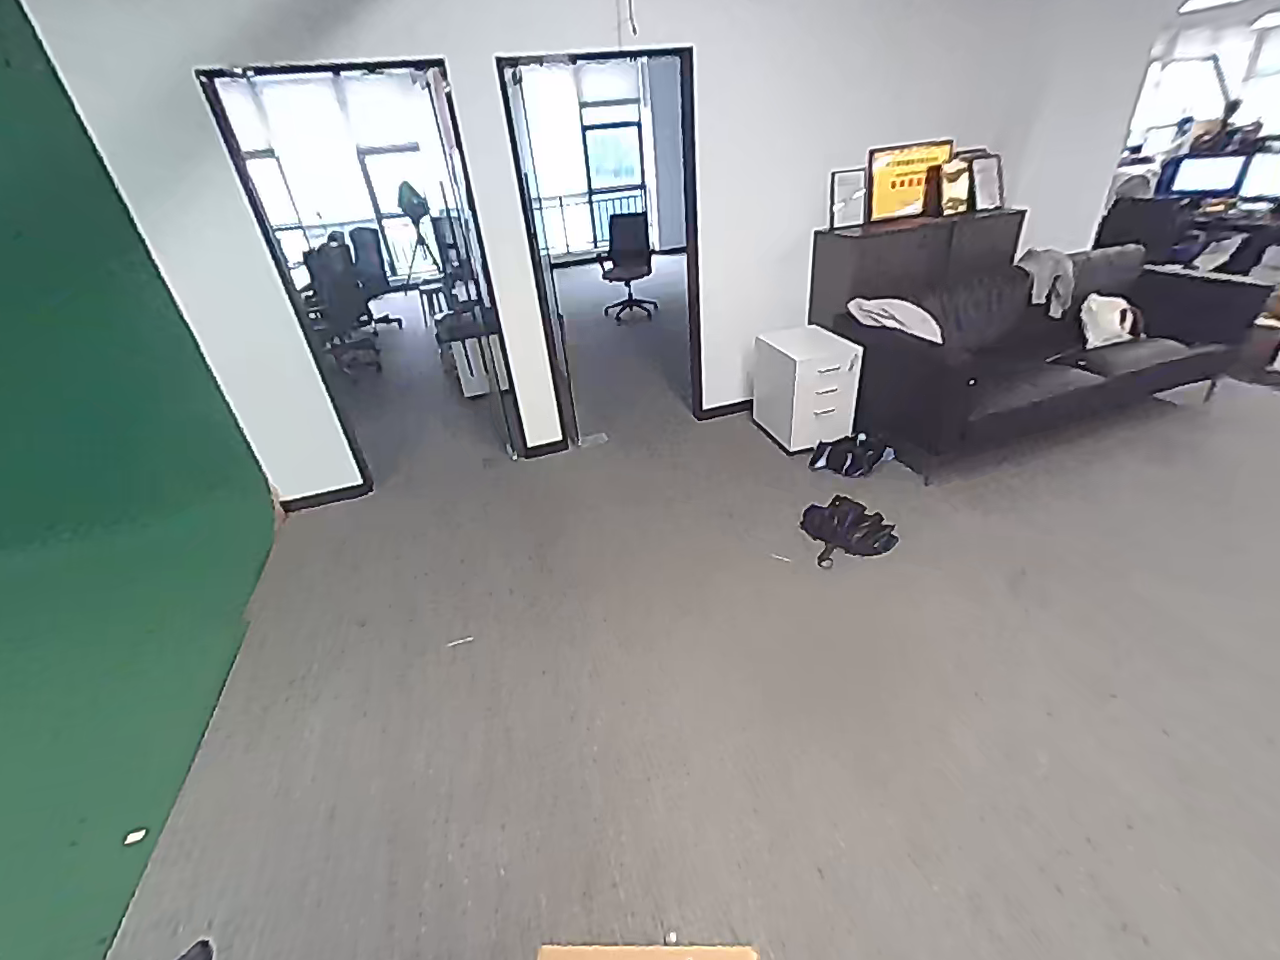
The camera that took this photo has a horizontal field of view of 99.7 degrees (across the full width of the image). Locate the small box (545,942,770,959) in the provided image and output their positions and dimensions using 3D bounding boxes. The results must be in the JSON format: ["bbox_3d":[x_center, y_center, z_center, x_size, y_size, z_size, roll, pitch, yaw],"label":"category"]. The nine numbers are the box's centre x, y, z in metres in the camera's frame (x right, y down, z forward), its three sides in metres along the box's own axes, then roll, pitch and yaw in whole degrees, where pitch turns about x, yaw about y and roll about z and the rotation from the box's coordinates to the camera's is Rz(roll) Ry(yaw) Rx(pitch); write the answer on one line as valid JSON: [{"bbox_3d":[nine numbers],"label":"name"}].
[{"bbox_3d":[0.019,0.453,0.371,0.168,0.176,0.179,-5,36,5],"label":"small box"}]
